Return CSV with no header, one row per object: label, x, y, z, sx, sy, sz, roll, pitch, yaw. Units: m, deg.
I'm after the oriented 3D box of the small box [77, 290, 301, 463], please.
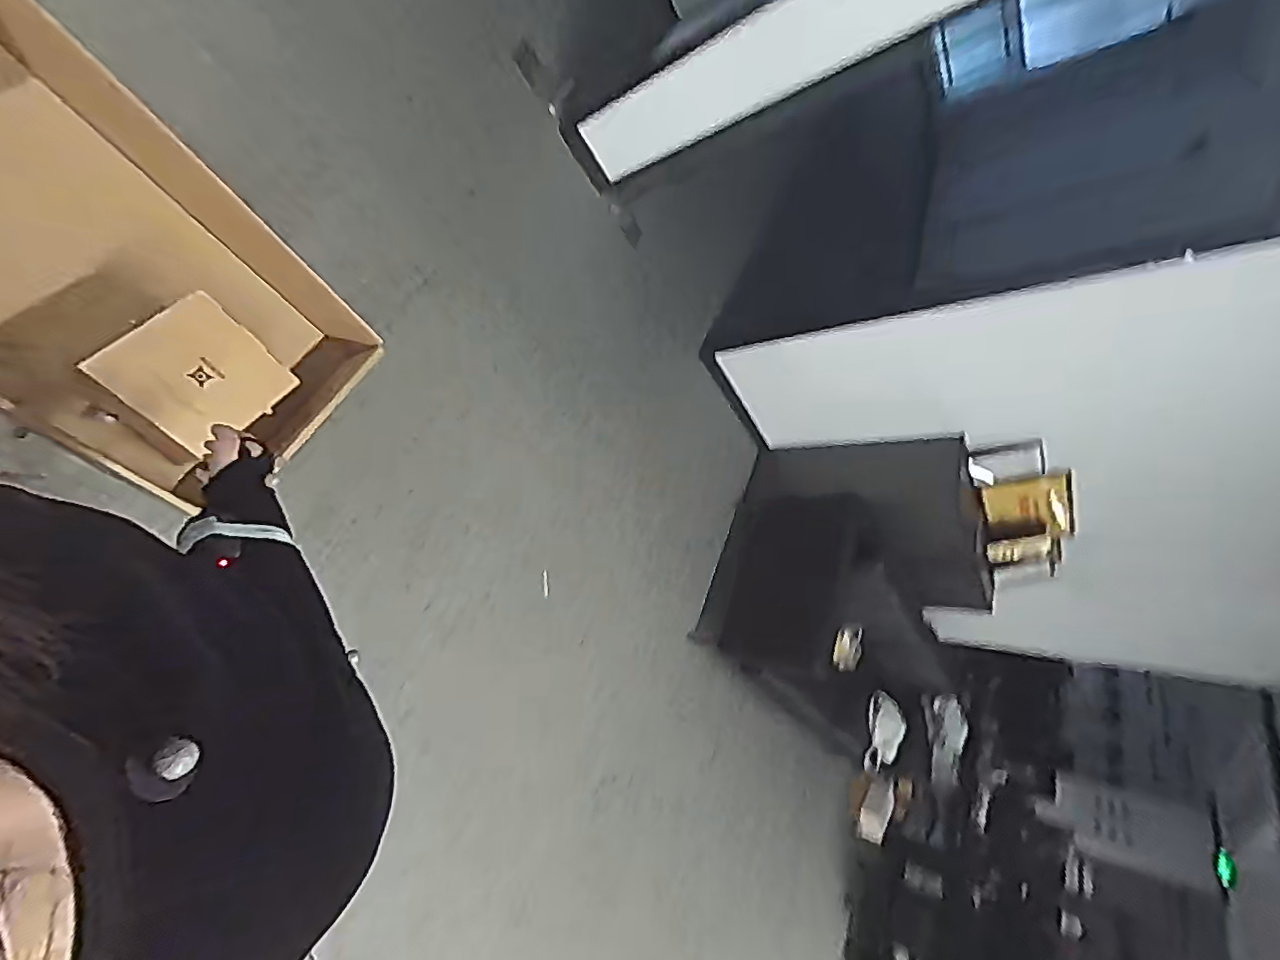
small box,-0.648,-0.141,0.780,0.168,0.176,0.179,55,50,-33
